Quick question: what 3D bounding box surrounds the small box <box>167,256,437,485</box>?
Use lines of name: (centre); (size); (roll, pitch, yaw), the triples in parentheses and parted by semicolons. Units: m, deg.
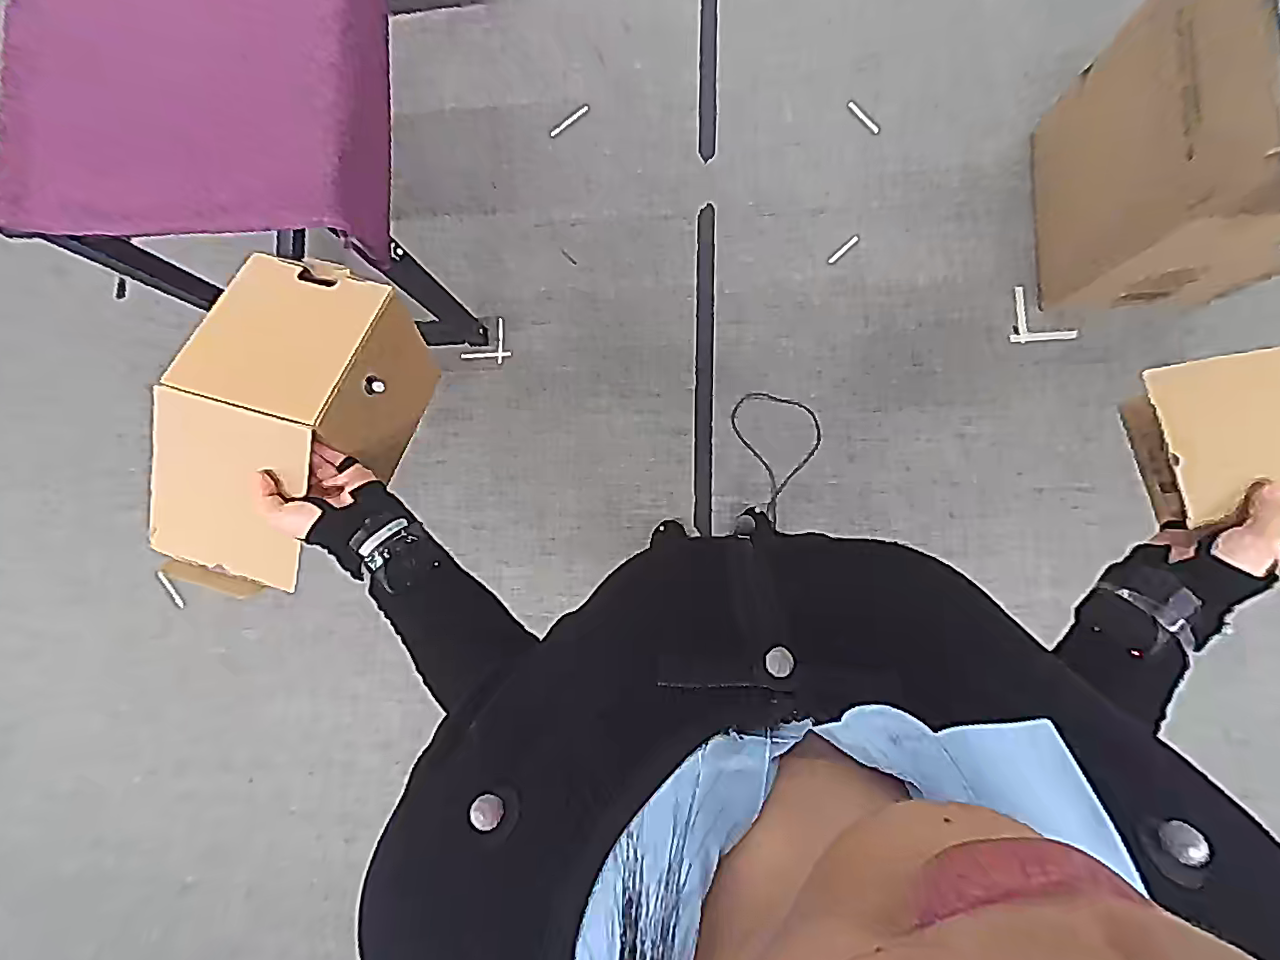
small box: (-0.358, -0.114, 0.619); (0.168, 0.176, 0.179); (16, 67, 4)
